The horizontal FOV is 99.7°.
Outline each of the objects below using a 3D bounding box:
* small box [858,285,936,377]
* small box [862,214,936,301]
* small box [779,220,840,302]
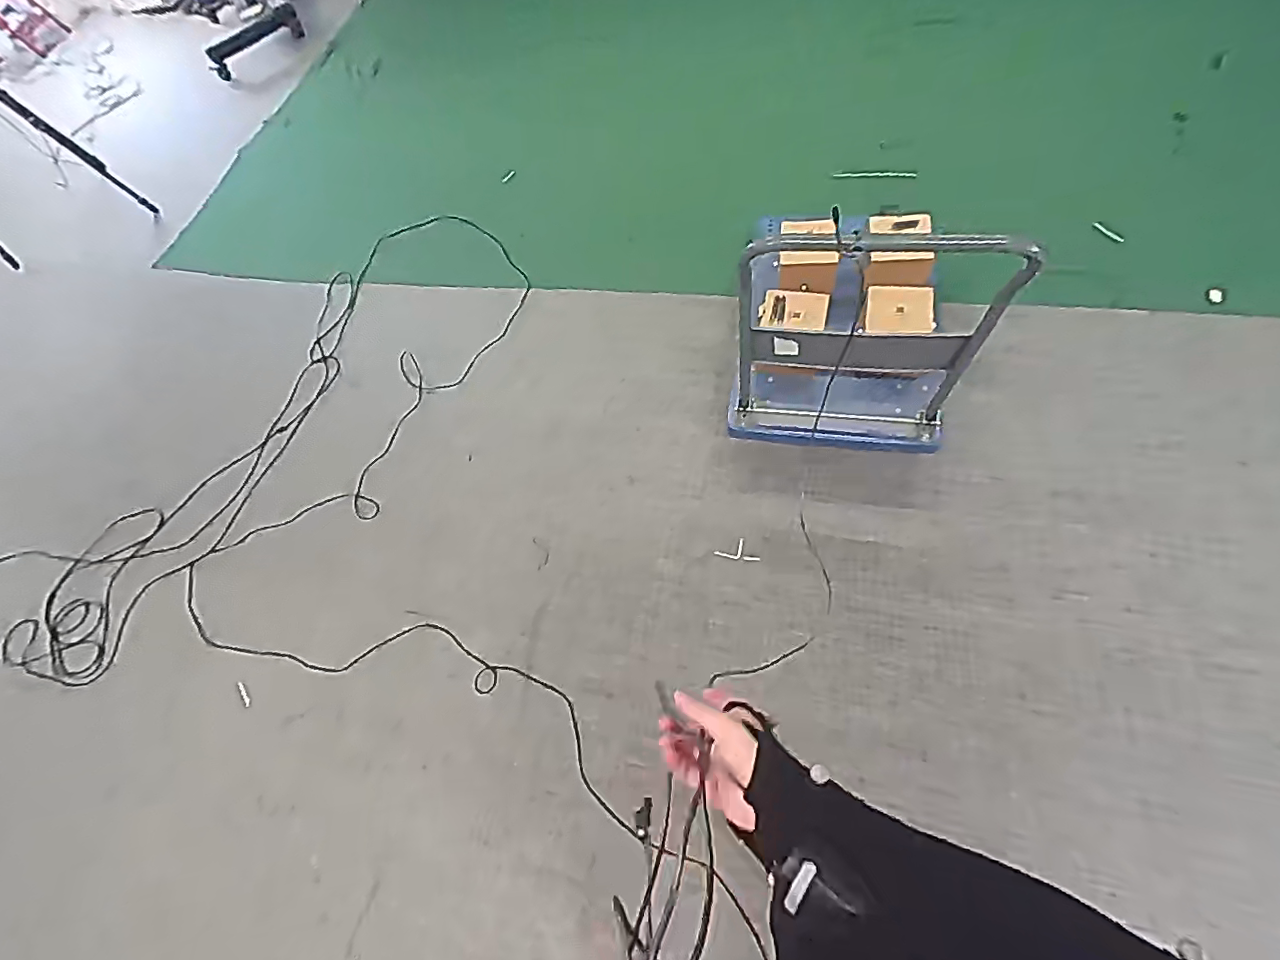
[{"bbox_3d":[0.710,-0.413,1.504,0.168,0.176,0.179,7,67,15],"label":"small box"},{"bbox_3d":[0.764,-0.656,1.608,0.168,0.176,0.179,3,66,13],"label":"small box"},{"bbox_3d":[0.518,-0.667,1.663,0.168,0.176,0.179,3,66,12],"label":"small box"}]
